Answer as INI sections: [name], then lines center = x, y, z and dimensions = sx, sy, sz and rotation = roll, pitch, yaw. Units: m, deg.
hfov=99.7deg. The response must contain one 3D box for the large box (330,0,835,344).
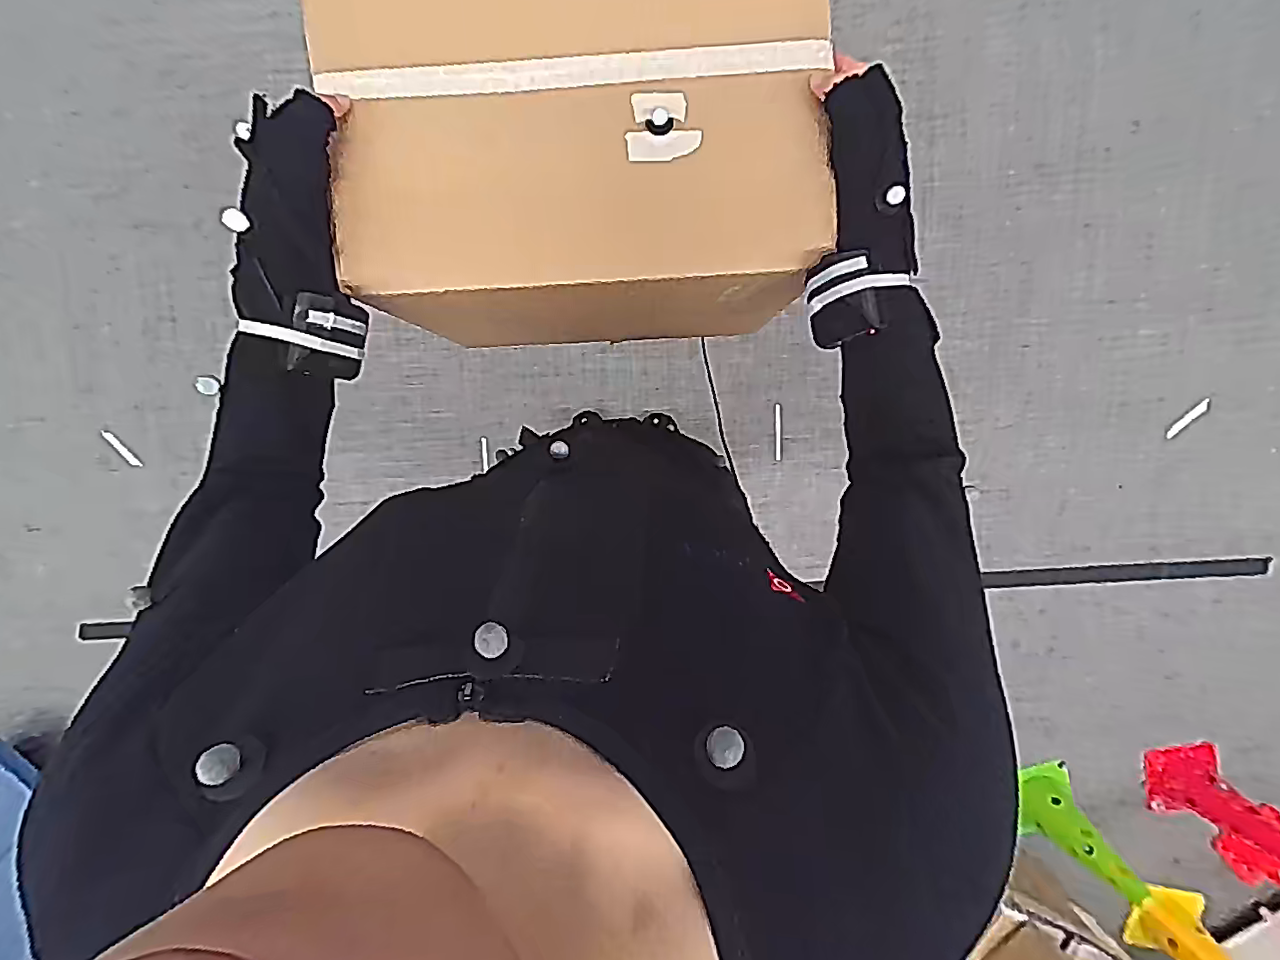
[large box]
center = -0.047, -0.338, 0.584
dimensions = 0.408, 0.320, 0.320
rotation = -3, 96, 0
